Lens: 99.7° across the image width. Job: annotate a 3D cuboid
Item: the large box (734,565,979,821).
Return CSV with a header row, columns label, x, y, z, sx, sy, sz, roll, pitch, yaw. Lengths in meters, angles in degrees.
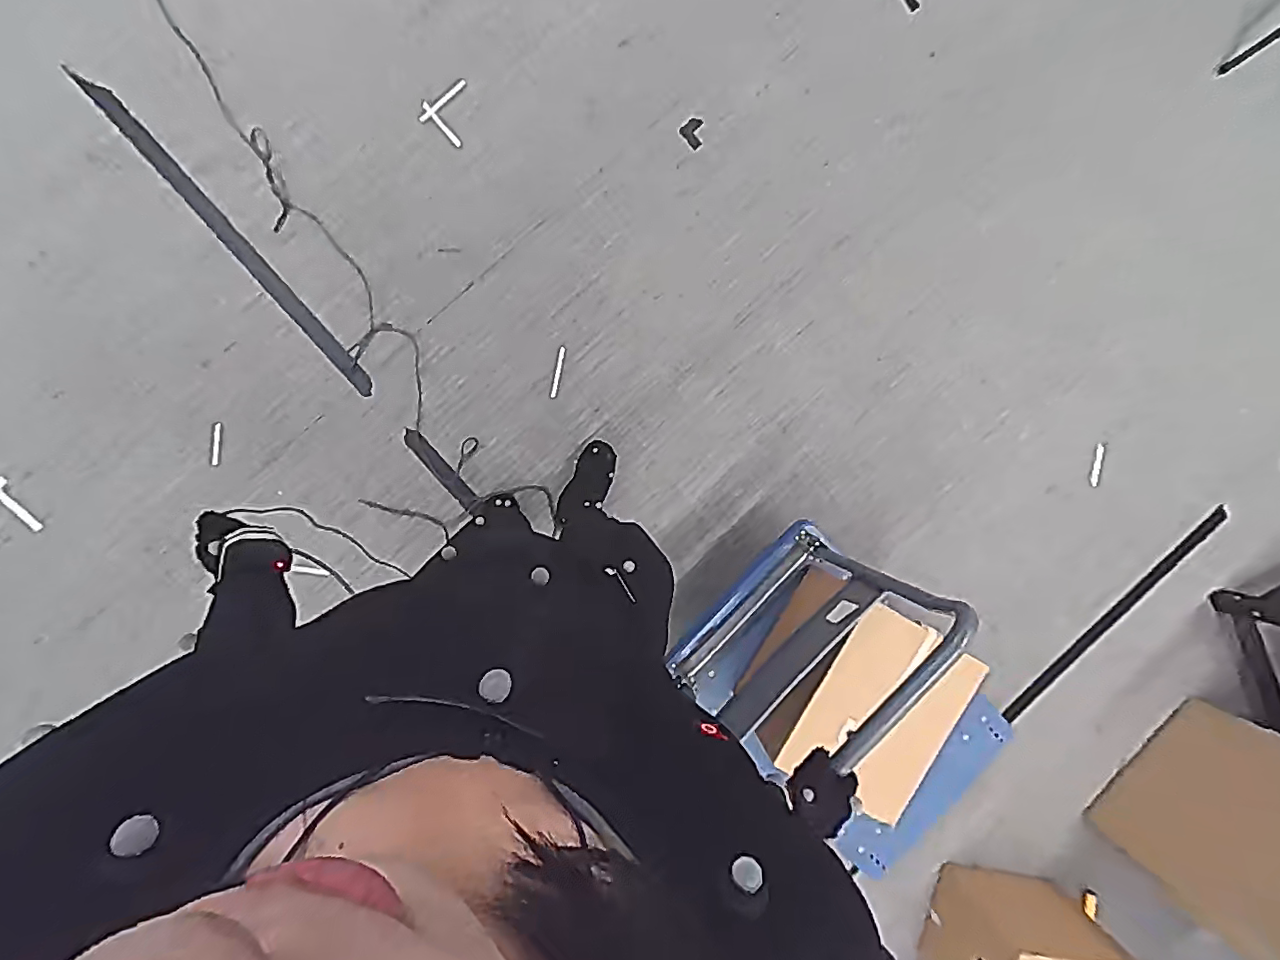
label,x,y,z,sx,sy,sz,roll,pitch,yaw
large box,0.483,0.472,1.278,0.320,0.320,0.408,30,91,-7
